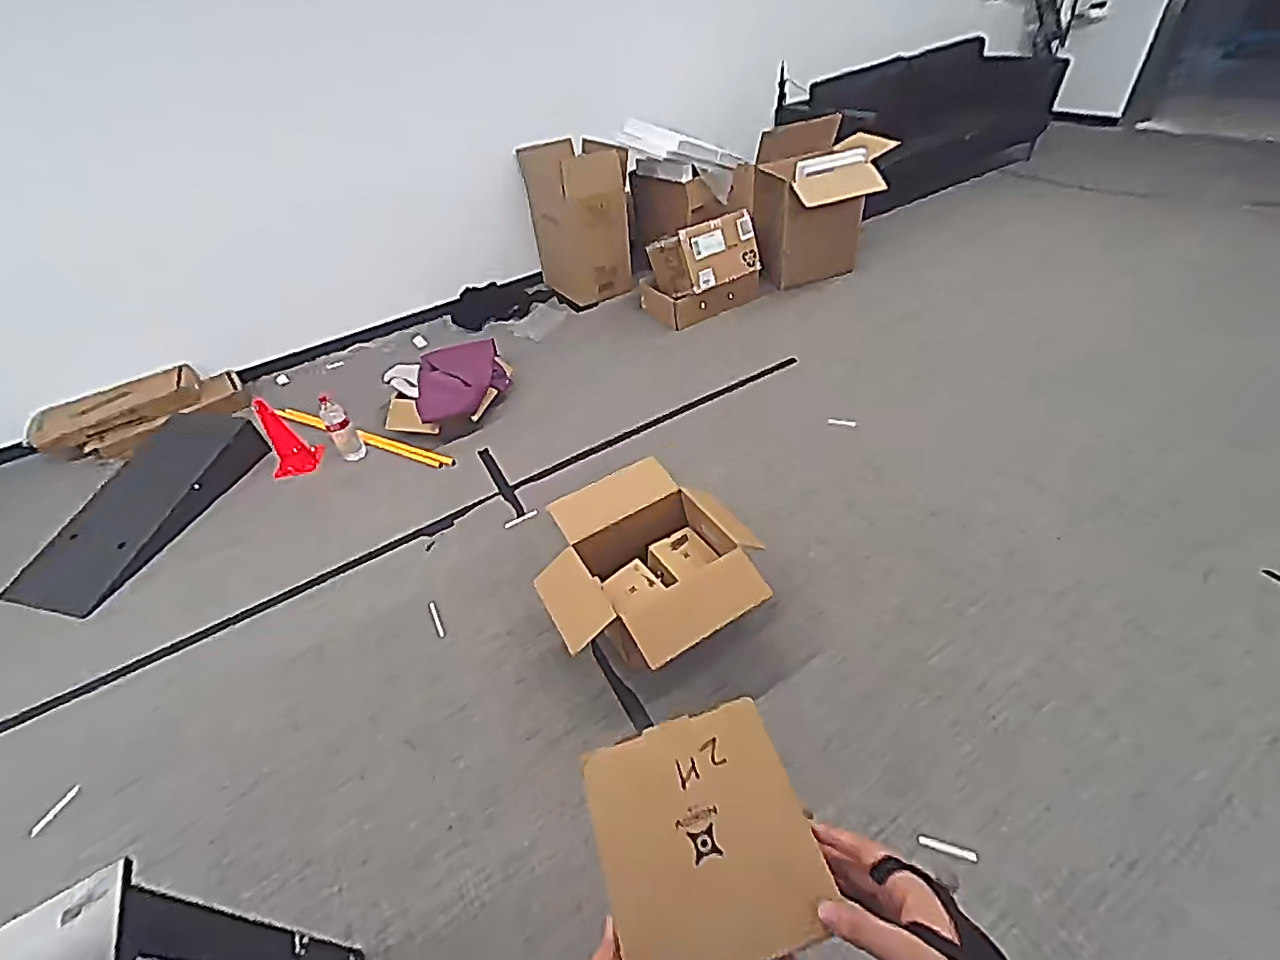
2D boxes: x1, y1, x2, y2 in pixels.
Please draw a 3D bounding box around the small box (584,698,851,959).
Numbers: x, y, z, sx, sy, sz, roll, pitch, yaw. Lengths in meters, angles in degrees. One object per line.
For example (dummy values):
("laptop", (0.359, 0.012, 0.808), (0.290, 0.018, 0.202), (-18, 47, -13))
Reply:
("small box", (0.060, 0.335, 0.489), (0.168, 0.176, 0.179), (-17, 47, -8))
